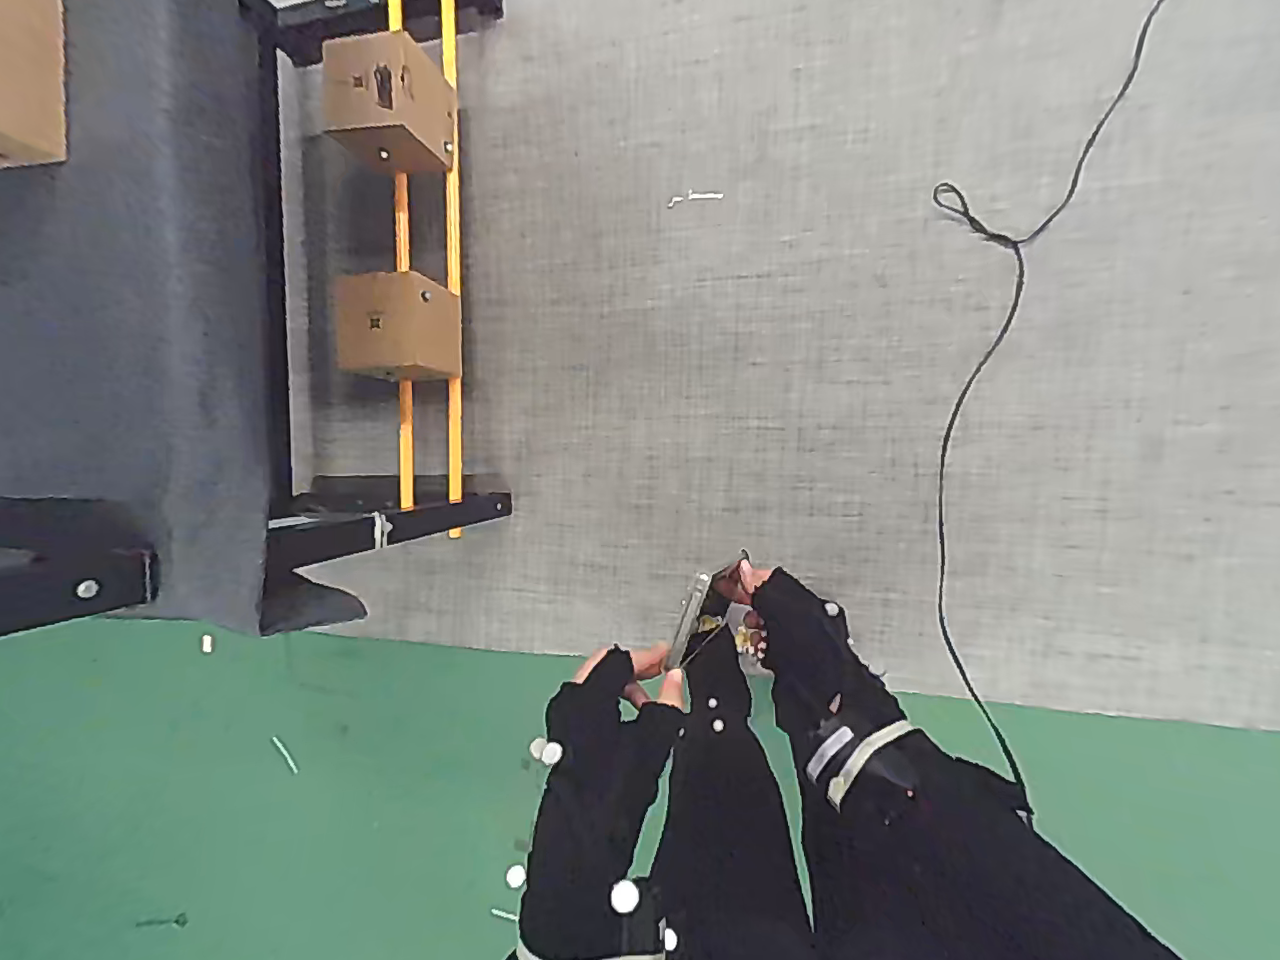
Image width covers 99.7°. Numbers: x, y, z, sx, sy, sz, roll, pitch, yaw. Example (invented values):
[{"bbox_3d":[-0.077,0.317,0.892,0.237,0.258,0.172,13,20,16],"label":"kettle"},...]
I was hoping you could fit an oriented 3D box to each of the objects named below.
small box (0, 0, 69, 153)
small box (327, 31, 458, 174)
[{"bbox_3d":[-0.672,-0.417,0.485,0.168,0.176,0.179,4,93,13],"label":"small box"},{"bbox_3d":[-0.480,-0.731,1.065,0.179,0.176,0.168,4,93,14],"label":"small box"}]
